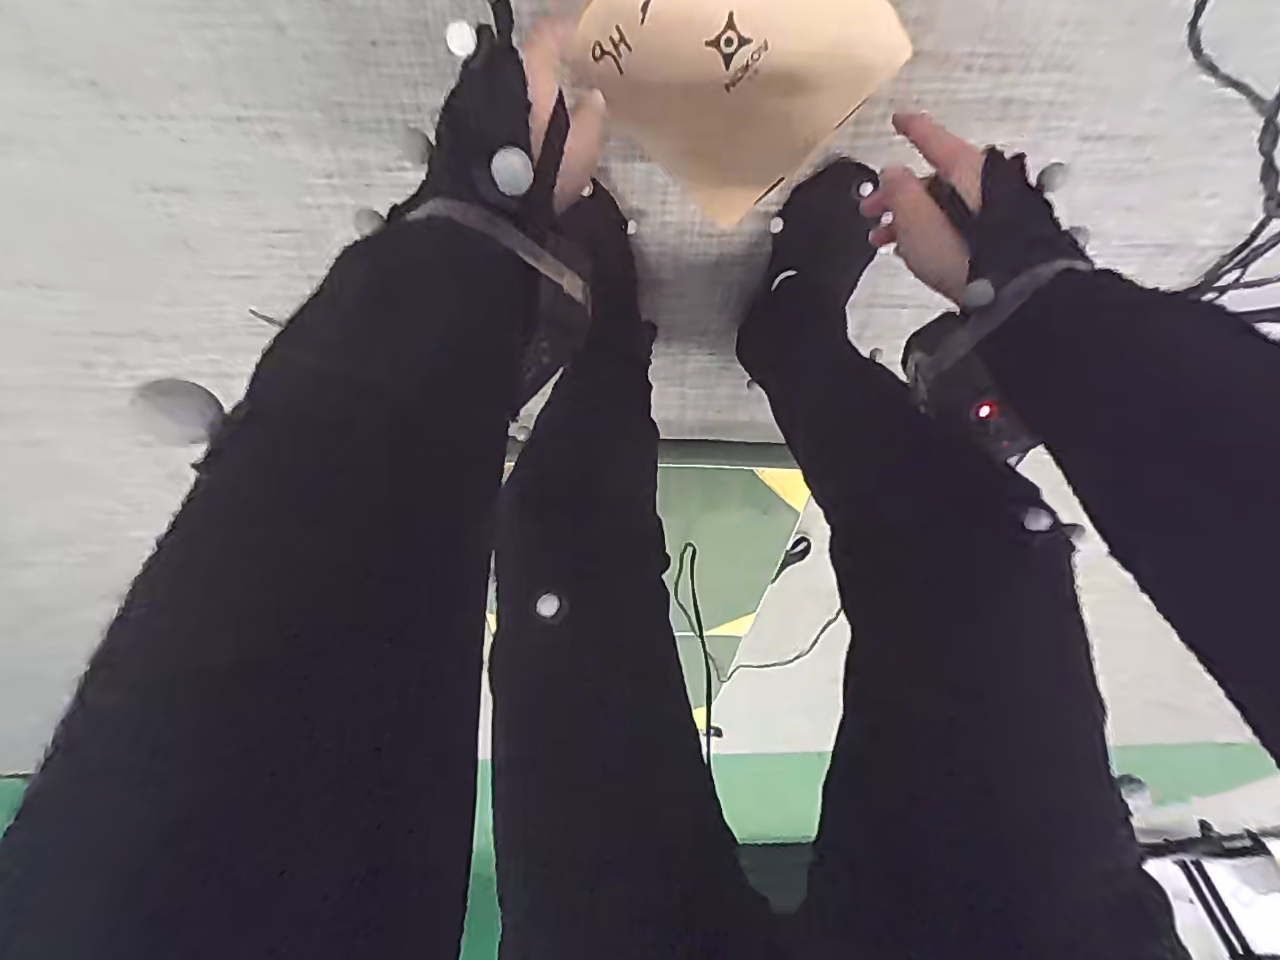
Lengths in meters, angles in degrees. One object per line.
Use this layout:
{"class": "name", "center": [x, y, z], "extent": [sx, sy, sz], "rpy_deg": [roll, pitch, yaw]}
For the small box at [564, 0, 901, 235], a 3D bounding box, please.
{"class": "small box", "center": [0.064, -0.342, 0.420], "extent": [0.179, 0.176, 0.168], "rpy_deg": [32, 129, -32]}
